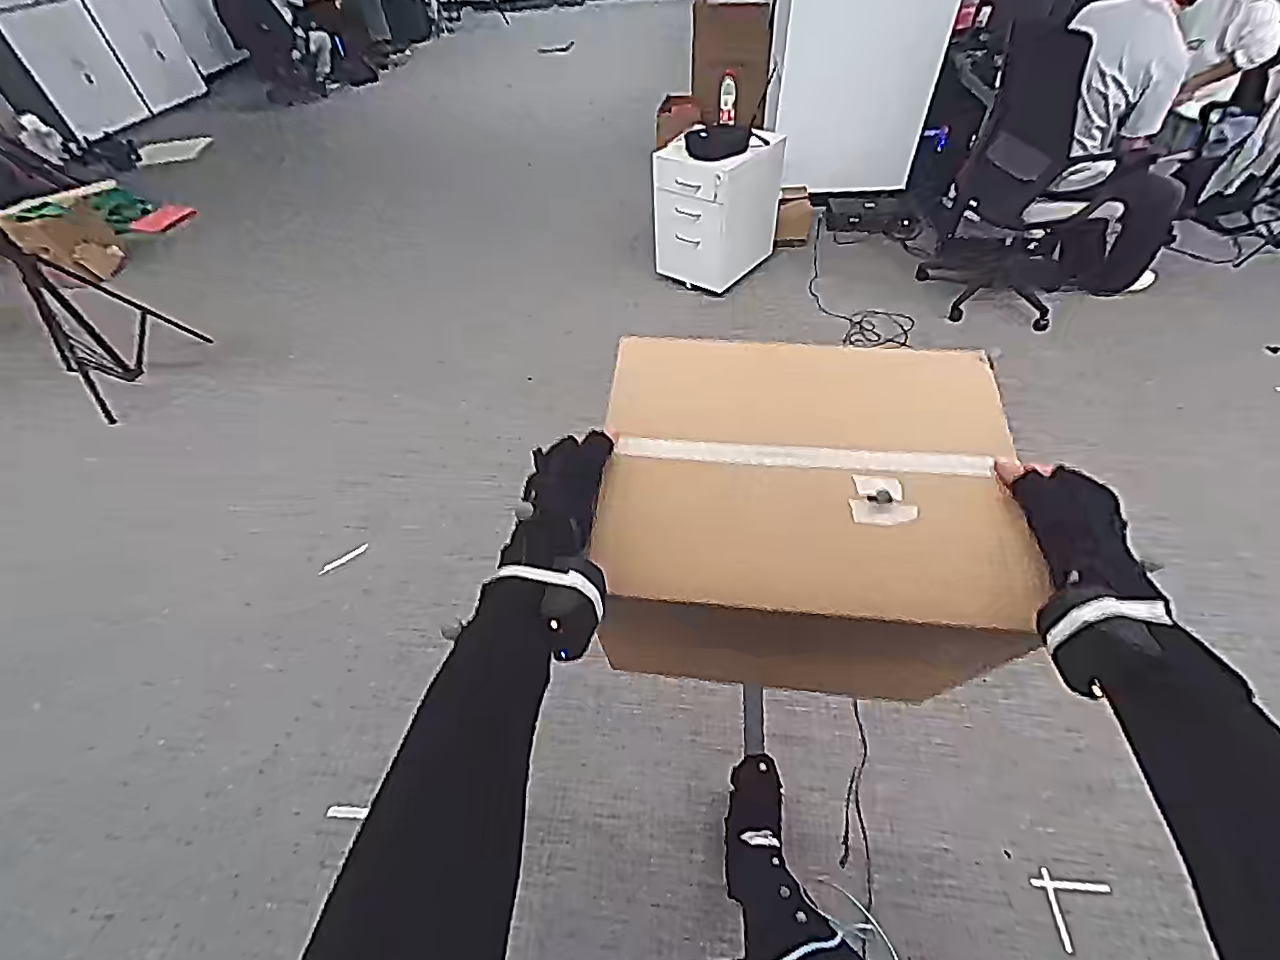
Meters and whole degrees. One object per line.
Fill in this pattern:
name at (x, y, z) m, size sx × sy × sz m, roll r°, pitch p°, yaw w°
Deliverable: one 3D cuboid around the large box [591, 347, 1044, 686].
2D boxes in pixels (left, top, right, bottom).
large box at (0.169, 0.057, 0.681) m, size 0.408 × 0.320 × 0.320 m, roll 4°, pitch 60°, yaw 5°
